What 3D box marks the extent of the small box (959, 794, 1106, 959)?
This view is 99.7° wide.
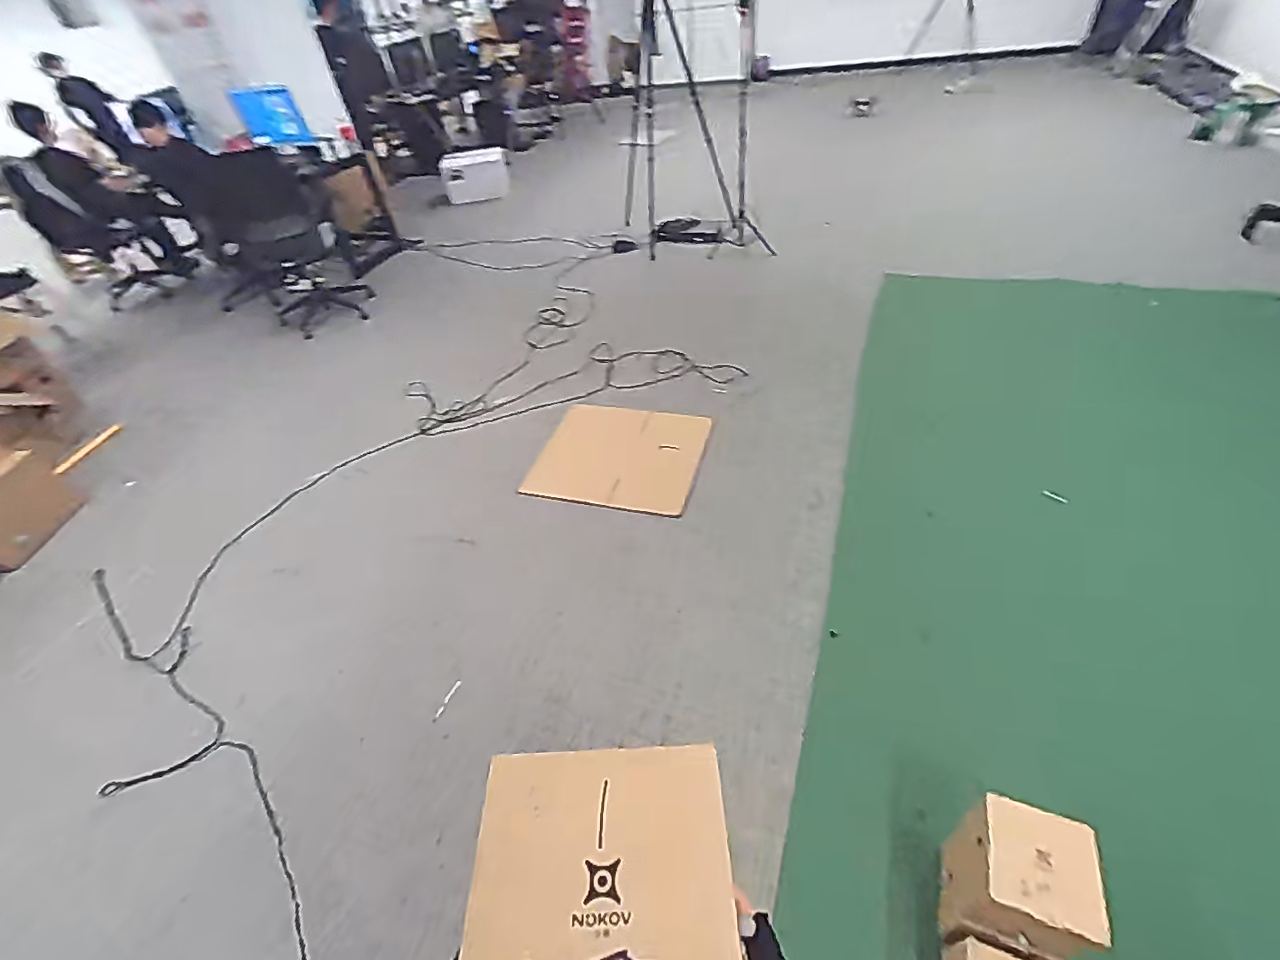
[{"bbox_3d":[0.691,0.714,0.975,0.168,0.176,0.179,12,46,21],"label":"small box"}]

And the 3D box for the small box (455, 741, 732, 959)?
[{"bbox_3d":[-0.023,0.314,0.391,0.168,0.176,0.179,-4,44,0],"label":"small box"}]
